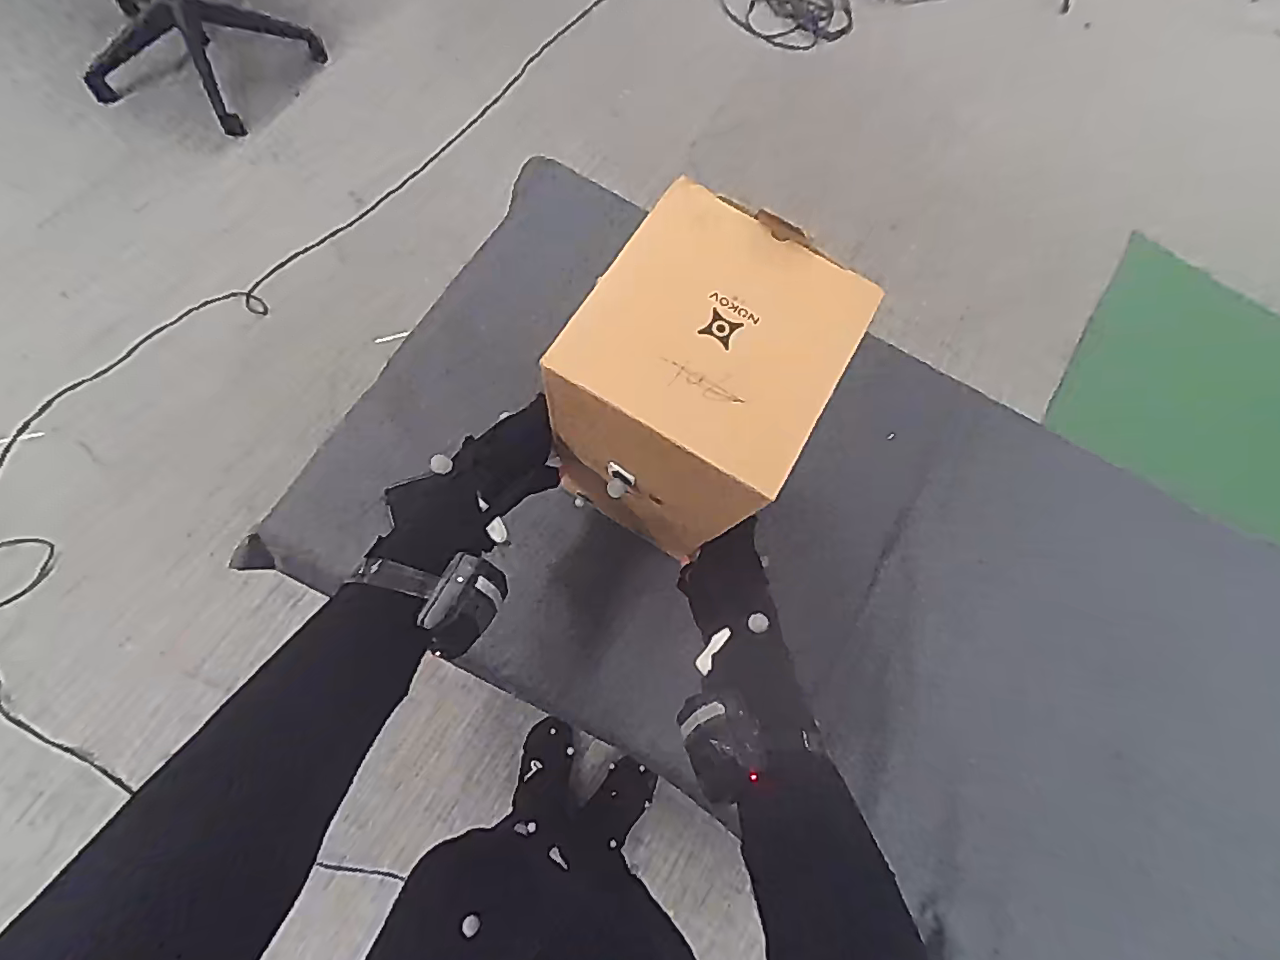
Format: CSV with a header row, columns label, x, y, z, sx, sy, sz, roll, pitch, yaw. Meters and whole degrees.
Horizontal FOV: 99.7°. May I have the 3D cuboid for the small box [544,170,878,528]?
label,x,y,z,sx,sy,sz,roll,pitch,yaw
small box,0.043,-0.084,0.424,0.168,0.176,0.179,31,75,3

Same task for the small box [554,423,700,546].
label,x,y,z,sx,sy,sz,roll,pitch,yaw
small box,0.027,-0.048,0.581,0.168,0.176,0.179,32,73,3
